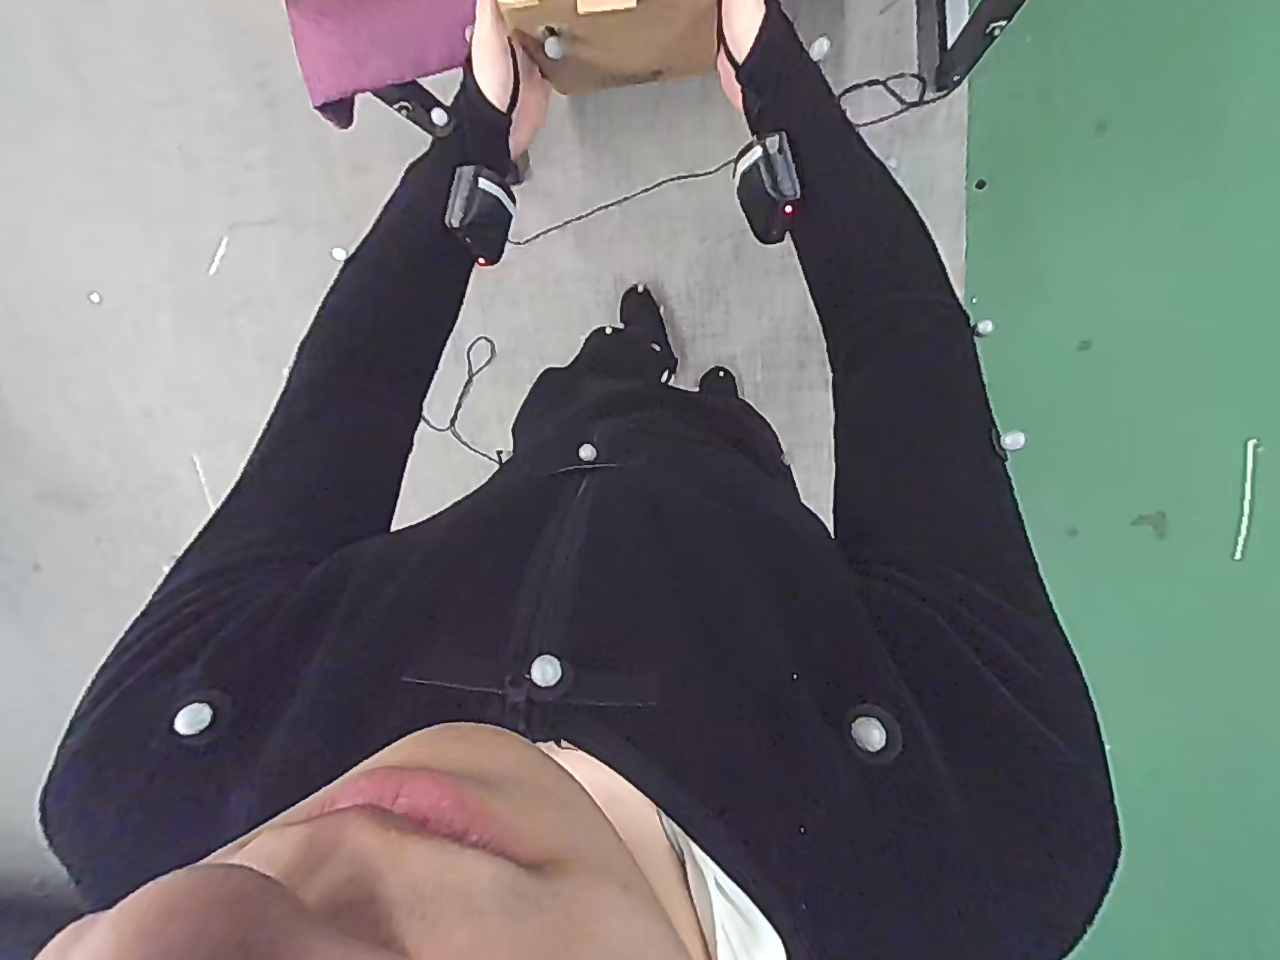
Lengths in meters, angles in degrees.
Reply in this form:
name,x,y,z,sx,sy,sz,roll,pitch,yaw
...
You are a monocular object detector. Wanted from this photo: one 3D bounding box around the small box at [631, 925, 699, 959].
name,x,y,z,sx,sy,sz,roll,pitch,yaw
small box,0.067,1.324,1.428,0.168,0.176,0.179,-7,103,12
